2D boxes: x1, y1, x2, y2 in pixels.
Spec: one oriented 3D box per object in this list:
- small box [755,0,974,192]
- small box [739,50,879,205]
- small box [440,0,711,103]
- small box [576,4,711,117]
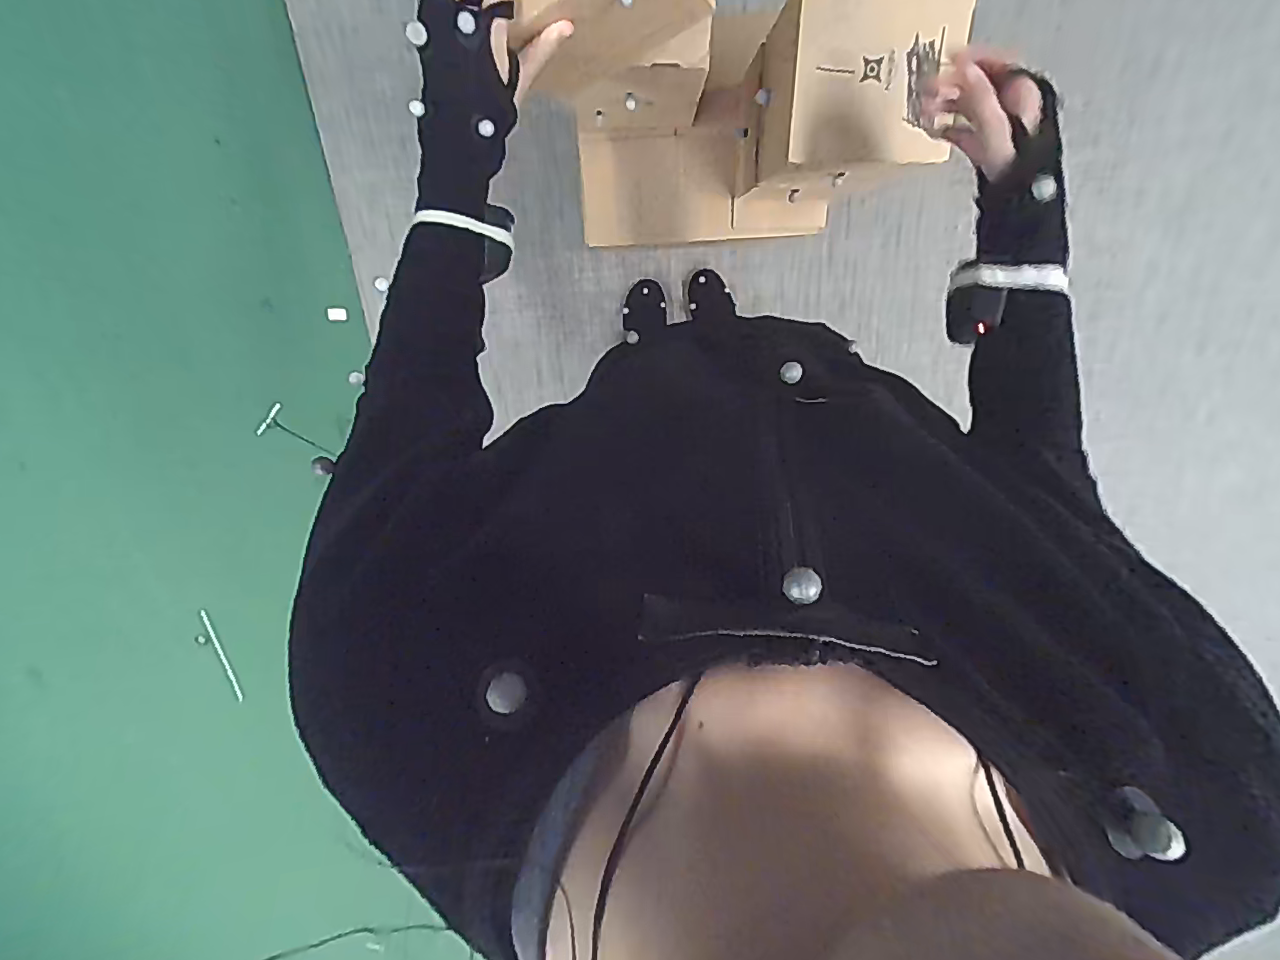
[{"bbox_3d":[0.242,-0.440,0.631,0.179,0.176,0.168,1,111,1],"label":"small box"},{"bbox_3d":[0.242,-0.497,0.784,0.179,0.176,0.168,0,113,2],"label":"small box"},{"bbox_3d":[-0.061,-0.447,0.446,0.179,0.176,0.168,-11,110,27],"label":"small box"},{"bbox_3d":[-0.008,-0.533,0.605,0.168,0.176,0.179,3,112,2],"label":"small box"}]
